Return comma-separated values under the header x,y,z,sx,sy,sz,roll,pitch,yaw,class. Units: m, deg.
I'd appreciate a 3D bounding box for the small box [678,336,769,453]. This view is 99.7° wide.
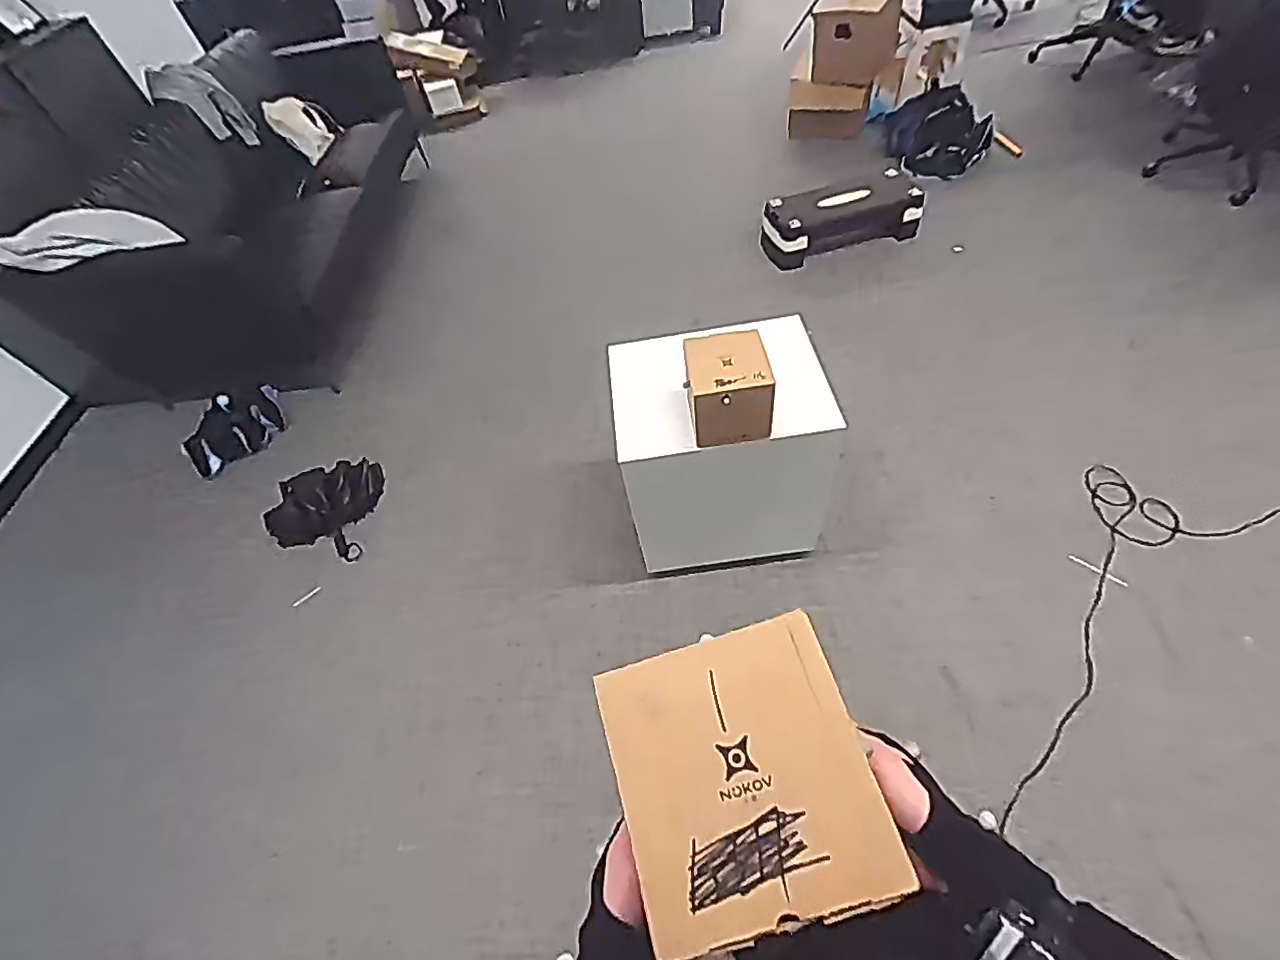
x,y,z,sx,sy,sz,roll,pitch,yaw,class
0.178,-0.184,1.181,0.168,0.176,0.179,-9,51,3,small box
